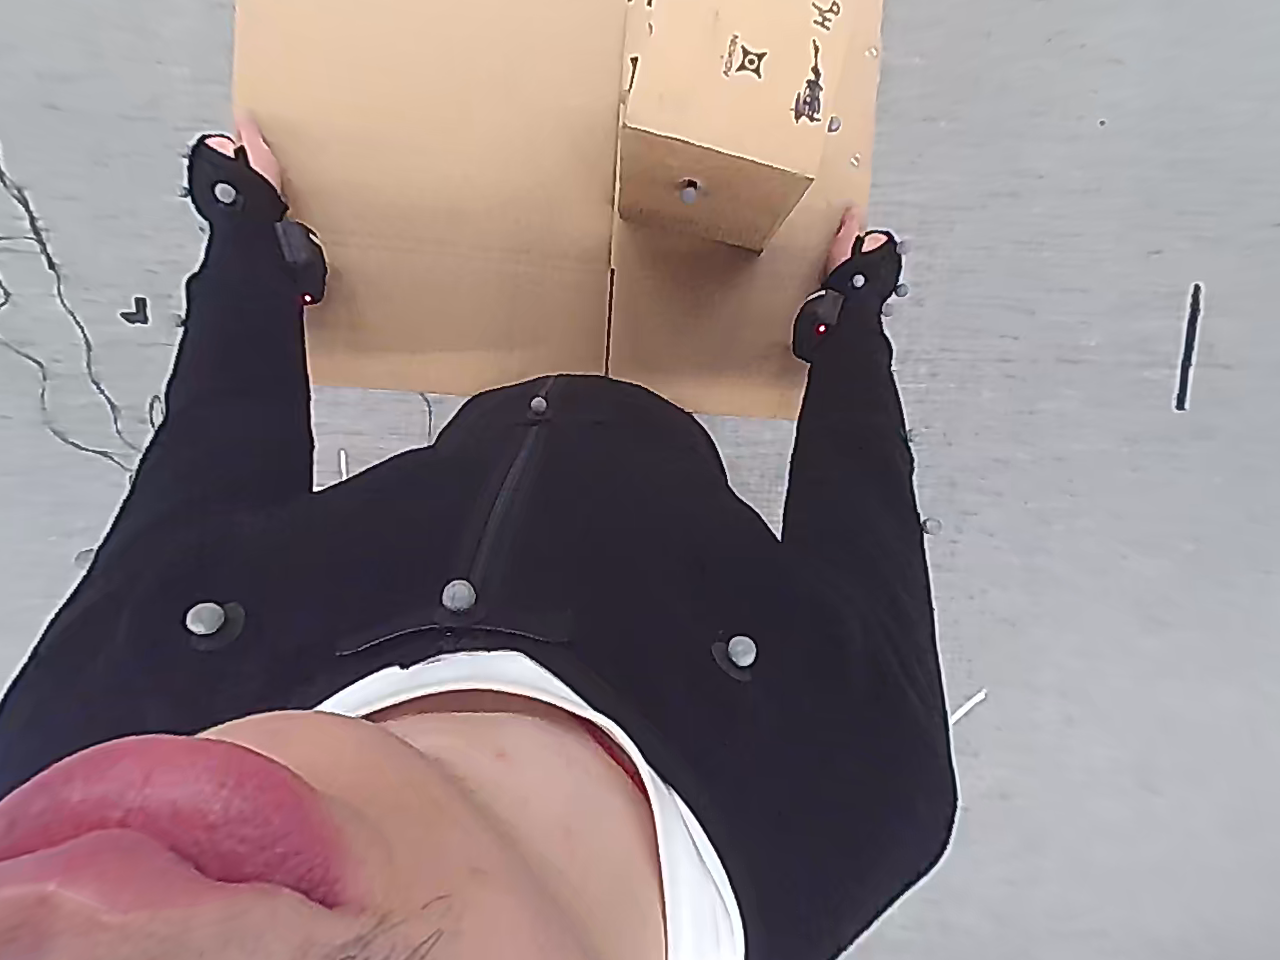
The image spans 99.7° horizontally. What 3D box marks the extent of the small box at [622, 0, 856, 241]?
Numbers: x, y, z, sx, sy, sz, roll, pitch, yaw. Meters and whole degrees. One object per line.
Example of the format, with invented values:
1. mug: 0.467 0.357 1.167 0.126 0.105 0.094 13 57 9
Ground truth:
1. small box: 0.084 -0.368 0.548 0.179 0.176 0.168 13 92 -2
